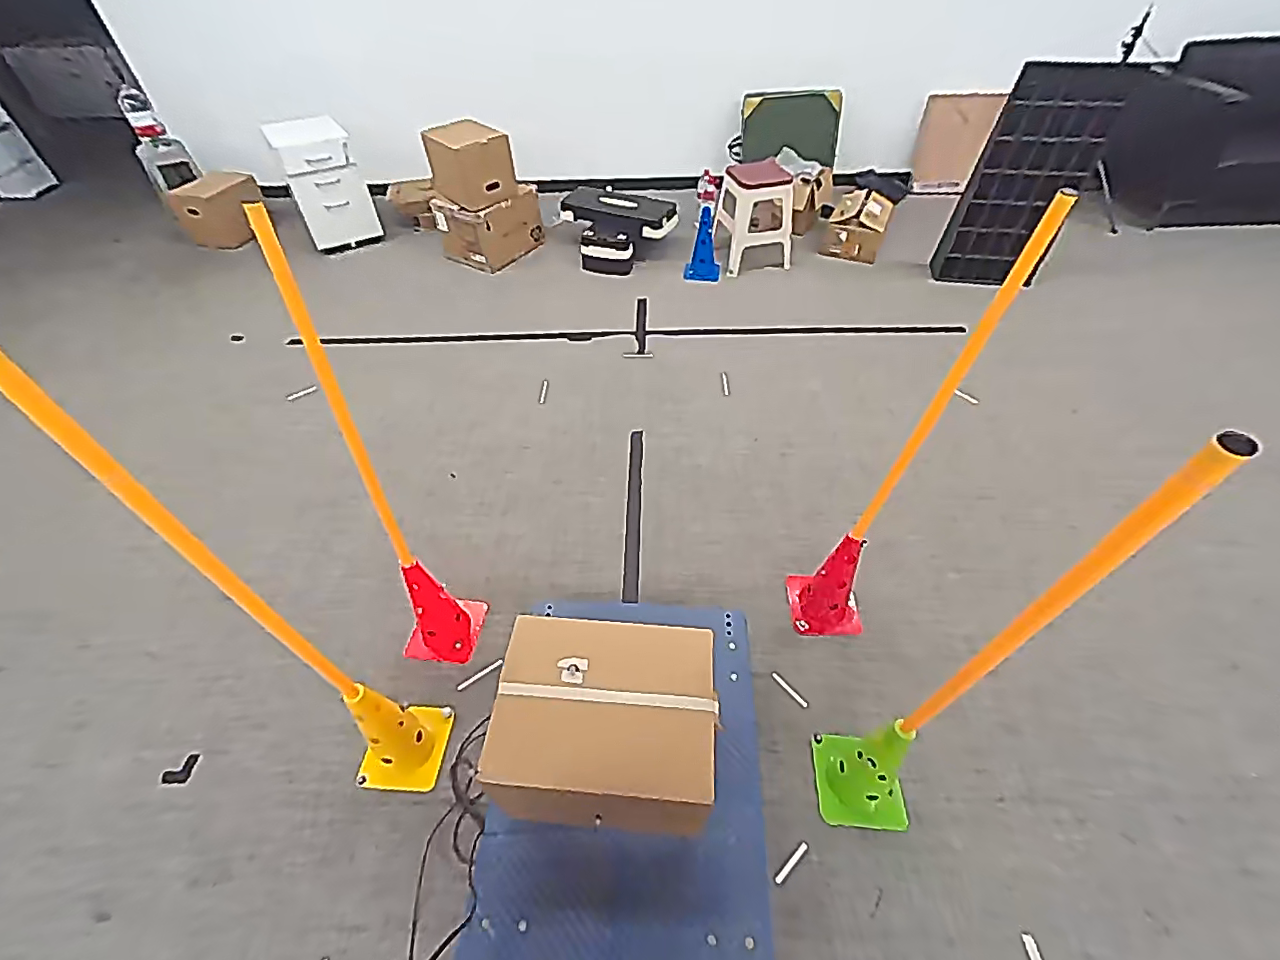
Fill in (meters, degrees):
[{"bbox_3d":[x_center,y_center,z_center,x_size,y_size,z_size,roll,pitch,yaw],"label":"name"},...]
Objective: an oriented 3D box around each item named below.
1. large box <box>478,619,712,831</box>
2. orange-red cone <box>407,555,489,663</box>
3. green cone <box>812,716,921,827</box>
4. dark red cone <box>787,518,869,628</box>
[{"bbox_3d":[-0.063,0.507,1.115,0.408,0.320,0.320,3,47,5],"label":"large box"},{"bbox_3d":[-0.574,0.325,1.497,0.198,0.360,0.199,6,46,6],"label":"orange-red cone"},{"bbox_3d":[0.530,0.612,1.197,0.202,0.368,0.200,3,47,3],"label":"green cone"},{"bbox_3d":[0.558,0.244,1.513,0.201,0.394,0.202,1,48,0],"label":"dark red cone"}]
